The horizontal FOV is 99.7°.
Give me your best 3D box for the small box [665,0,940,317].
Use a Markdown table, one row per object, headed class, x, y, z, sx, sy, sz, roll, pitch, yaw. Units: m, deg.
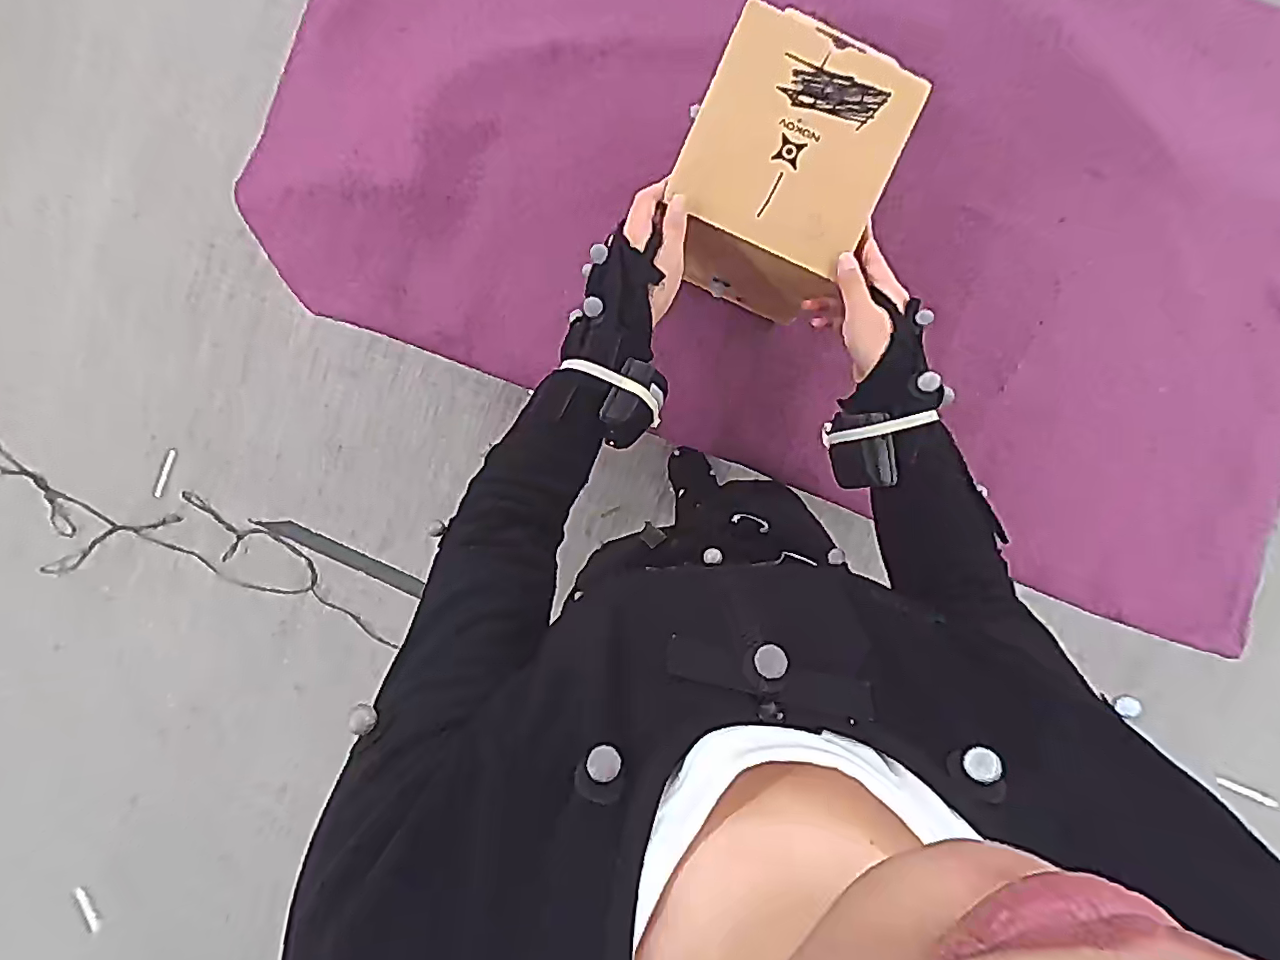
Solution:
| class | x | y | z | sx | sy | sz | roll | pitch | yaw |
| --- | --- | --- | --- | --- | --- | --- | --- | --- | --- |
| small box | 0.129 | -0.281 | 0.509 | 0.168 | 0.176 | 0.179 | 25 | 94 | -2 |
